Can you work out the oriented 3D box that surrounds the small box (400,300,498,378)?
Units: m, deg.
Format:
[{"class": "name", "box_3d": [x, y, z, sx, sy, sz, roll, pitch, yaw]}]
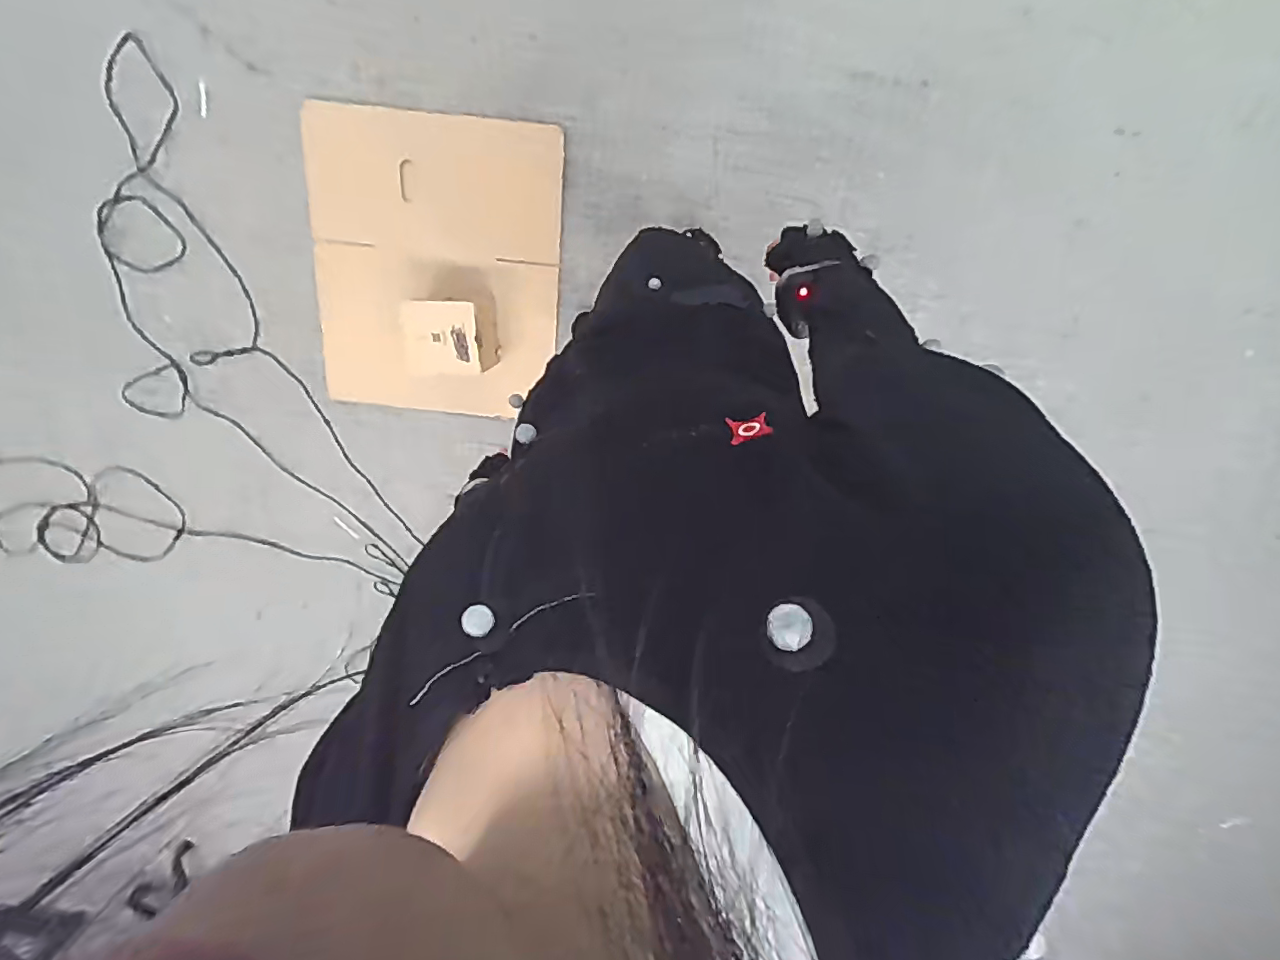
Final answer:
[{"class": "small box", "box_3d": [-0.450, -0.347, 1.311, 0.179, 0.176, 0.168, 1, 111, 2]}]
